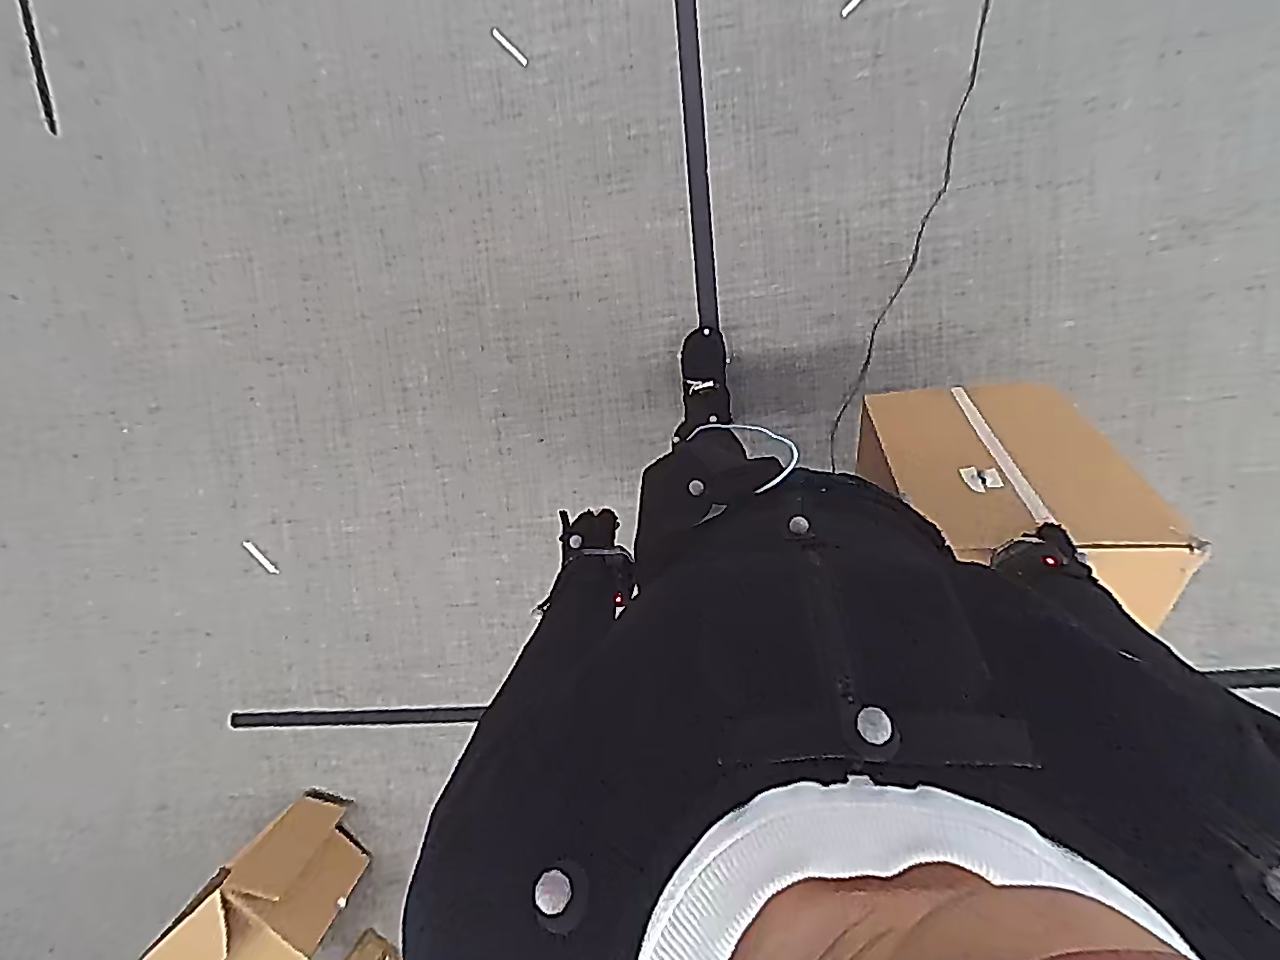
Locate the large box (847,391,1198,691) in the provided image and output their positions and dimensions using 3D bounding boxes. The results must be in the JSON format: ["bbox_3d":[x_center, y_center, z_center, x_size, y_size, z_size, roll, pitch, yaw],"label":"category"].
[{"bbox_3d":[0.557,0.087,0.910,0.320,0.408,0.320,-3,128,11],"label":"large box"}]
